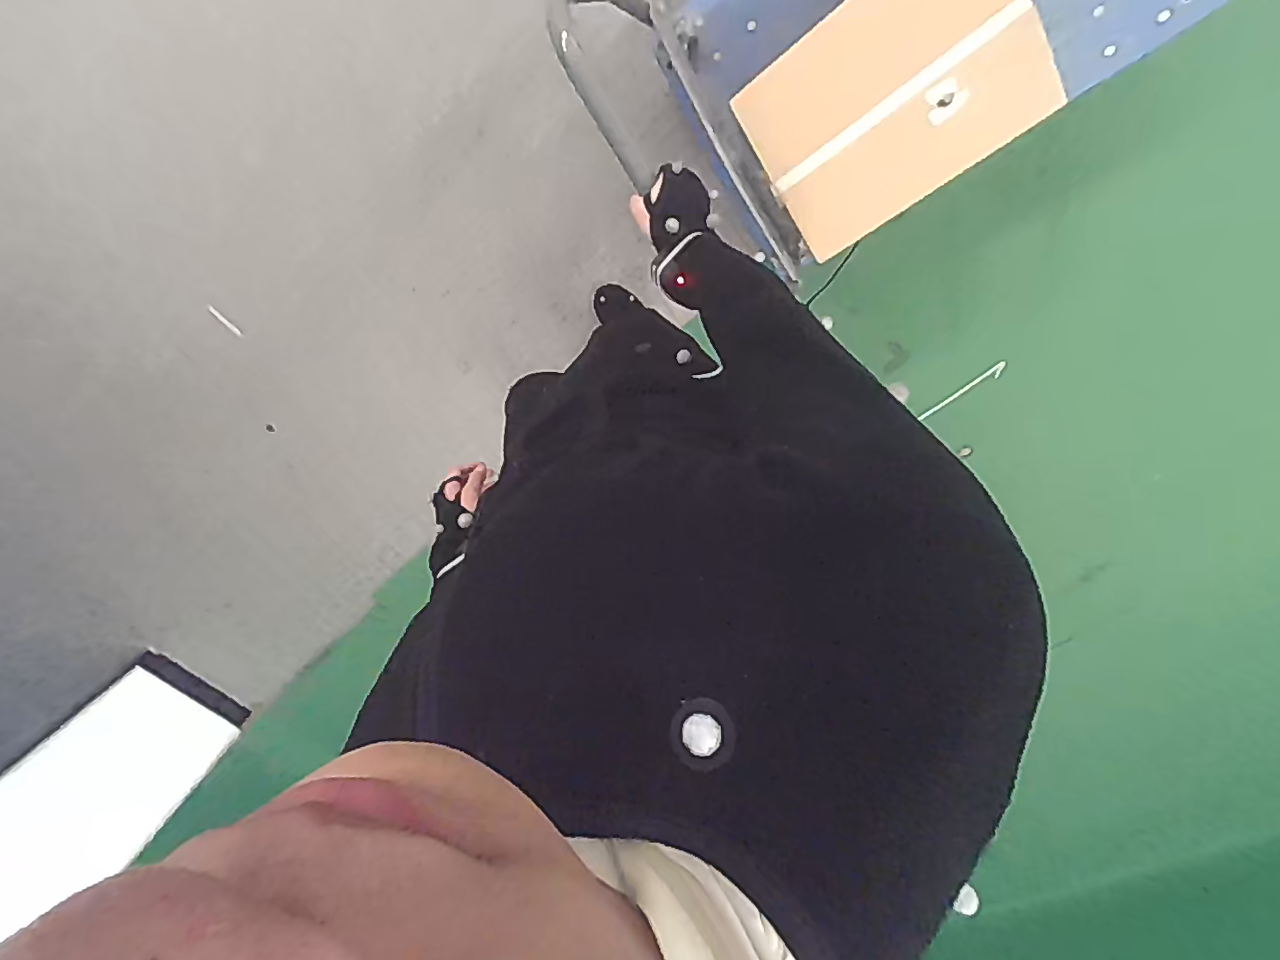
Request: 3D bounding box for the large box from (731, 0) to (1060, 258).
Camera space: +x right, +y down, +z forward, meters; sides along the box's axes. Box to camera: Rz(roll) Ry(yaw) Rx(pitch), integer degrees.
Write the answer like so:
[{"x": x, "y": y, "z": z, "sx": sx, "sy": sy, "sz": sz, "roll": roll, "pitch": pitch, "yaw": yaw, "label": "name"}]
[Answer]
[{"x": 0.418, "y": -0.672, "z": 0.976, "sx": 0.408, "sy": 0.320, "sz": 0.320, "roll": -28, "pitch": 111, "yaw": 25, "label": "large box"}]
